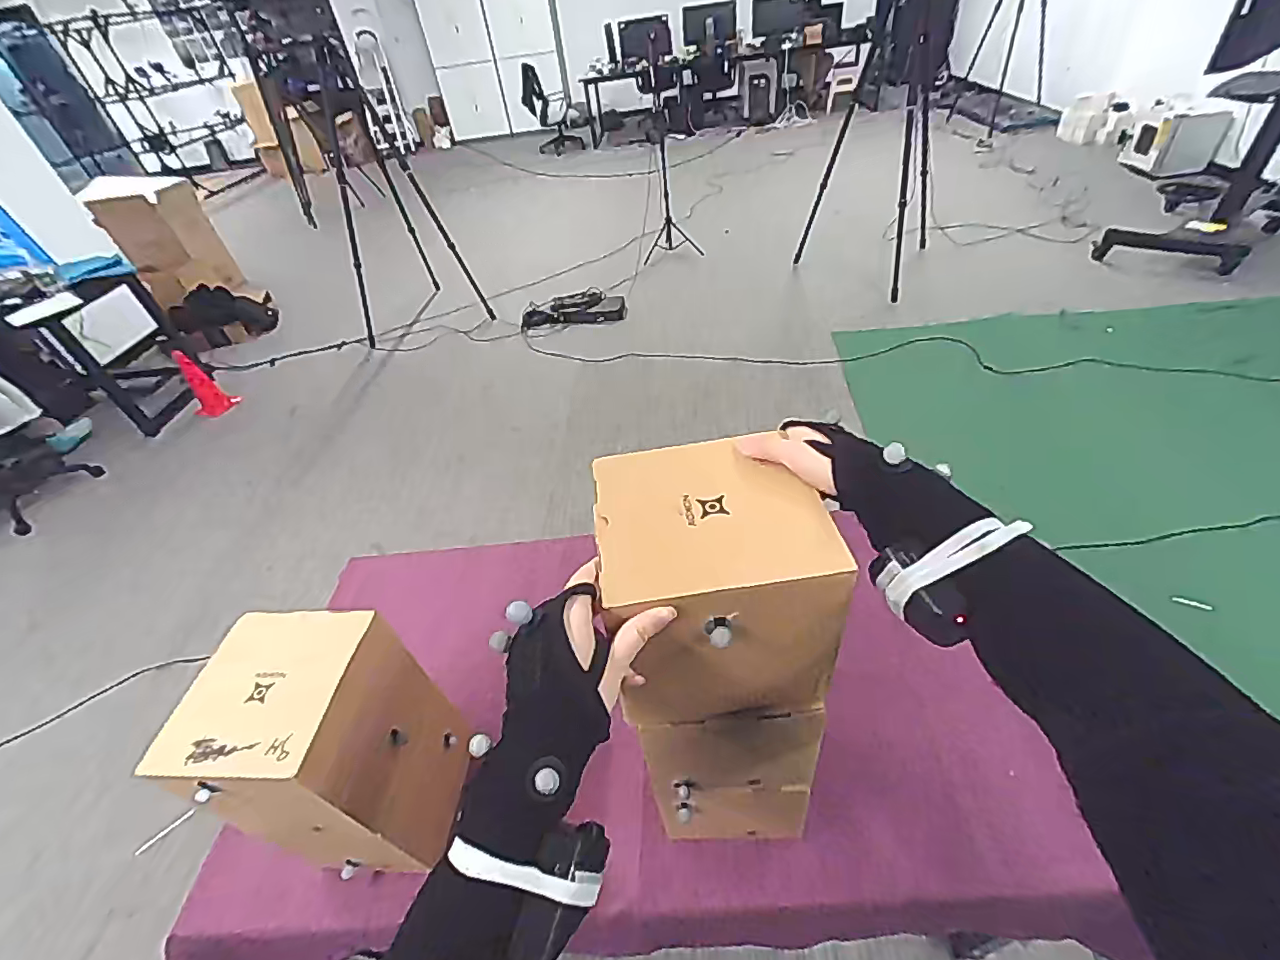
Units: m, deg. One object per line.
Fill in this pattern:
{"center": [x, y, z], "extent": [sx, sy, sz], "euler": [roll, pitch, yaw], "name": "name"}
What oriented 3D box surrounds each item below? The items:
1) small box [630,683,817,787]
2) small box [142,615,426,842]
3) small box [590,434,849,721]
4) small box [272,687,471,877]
{"center": [0.082, 0.209, 0.579], "extent": [0.168, 0.176, 0.179], "euler": [-7, 40, 4], "name": "small box"}
{"center": [-0.364, 0.271, 0.600], "extent": [0.168, 0.176, 0.179], "euler": [-4, 41, 9], "name": "small box"}
{"center": [0.058, 0.085, 0.472], "extent": [0.179, 0.176, 0.168], "euler": [-10, 40, 1], "name": "small box"}
{"center": [-0.341, 0.392, 0.710], "extent": [0.168, 0.176, 0.179], "euler": [-3, 43, 8], "name": "small box"}
